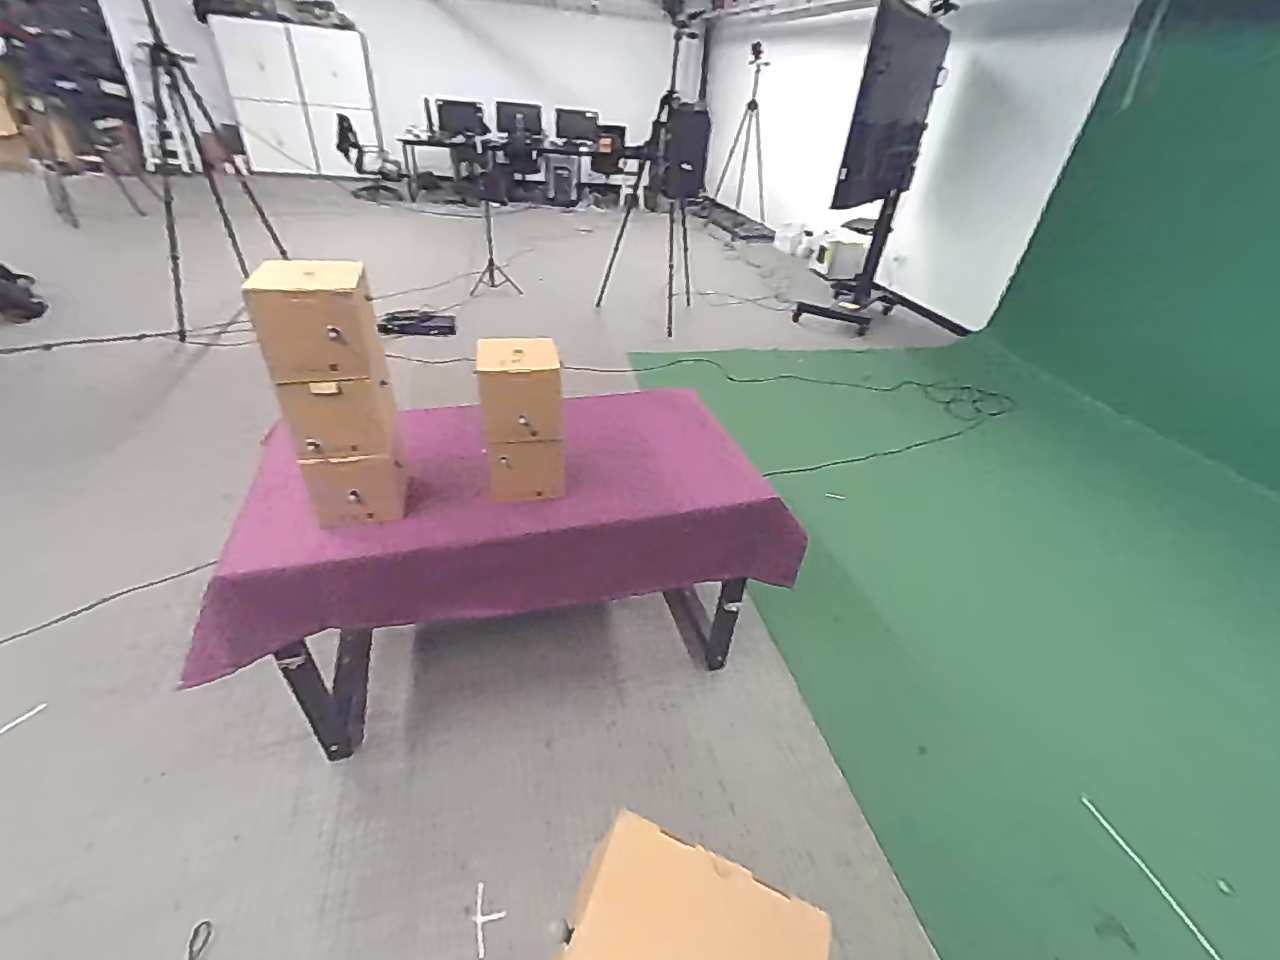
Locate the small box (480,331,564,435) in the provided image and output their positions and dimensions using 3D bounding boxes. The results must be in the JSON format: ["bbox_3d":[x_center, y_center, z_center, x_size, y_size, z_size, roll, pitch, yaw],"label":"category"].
[{"bbox_3d":[-0.256,-0.212,1.180,0.168,0.176,0.179,-4,37,-13],"label":"small box"}]

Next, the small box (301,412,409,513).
[{"bbox_3d":[-0.607,-0.041,1.175,0.168,0.176,0.179,-4,38,-15],"label":"small box"}]

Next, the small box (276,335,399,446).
[{"bbox_3d":[-0.591,-0.178,1.084,0.168,0.176,0.179,-4,36,-14],"label":"small box"}]

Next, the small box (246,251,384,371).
[{"bbox_3d":[-0.575,-0.307,0.986,0.168,0.176,0.179,-5,37,-16],"label":"small box"}]
